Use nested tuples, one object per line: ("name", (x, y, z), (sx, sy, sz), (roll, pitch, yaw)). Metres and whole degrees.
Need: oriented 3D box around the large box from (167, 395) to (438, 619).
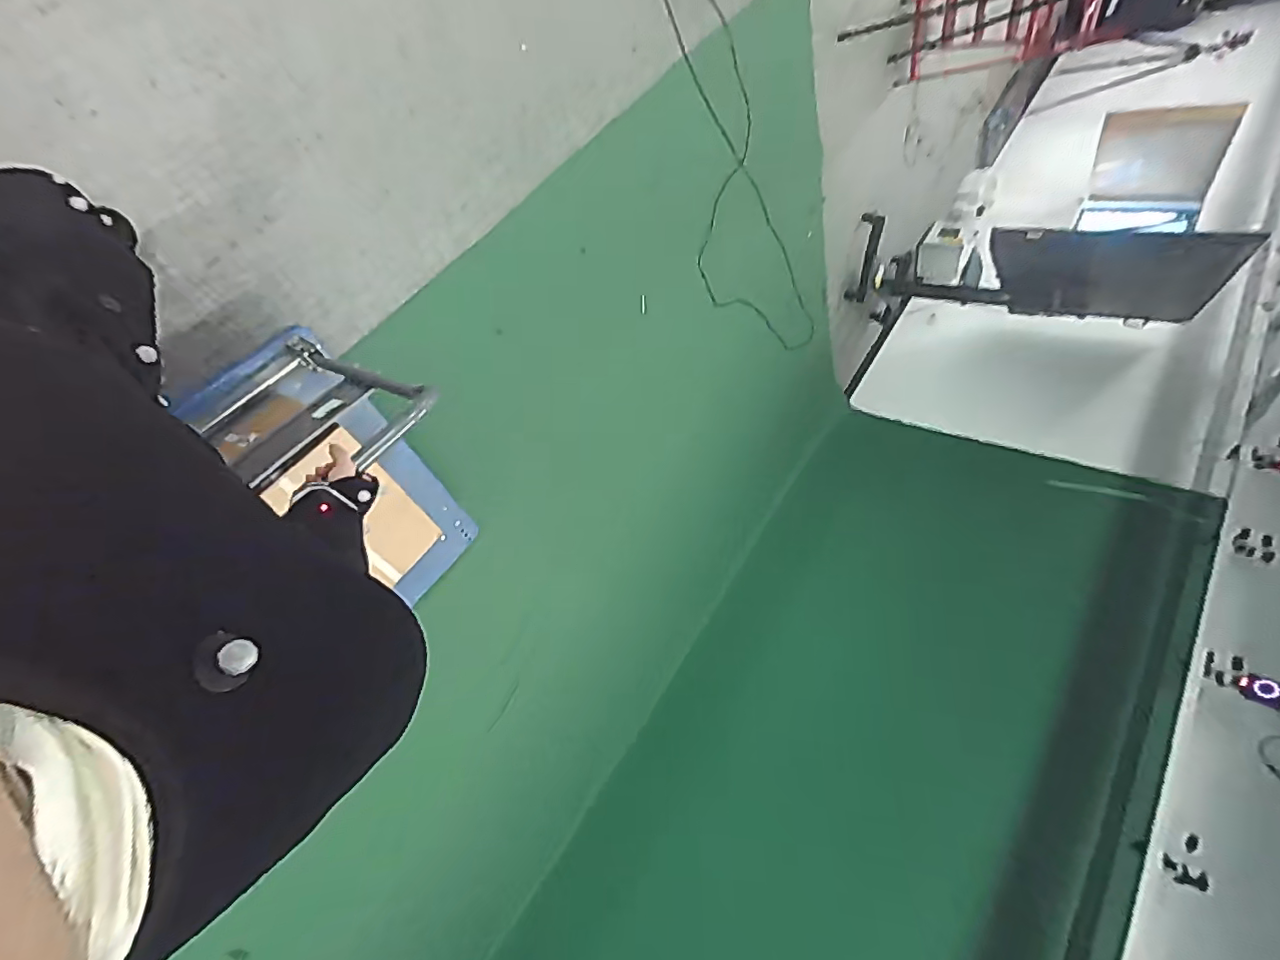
("large box", (-0.788, 0.063, 1.304), (0.320, 0.320, 0.408), (-51, 142, -24))
